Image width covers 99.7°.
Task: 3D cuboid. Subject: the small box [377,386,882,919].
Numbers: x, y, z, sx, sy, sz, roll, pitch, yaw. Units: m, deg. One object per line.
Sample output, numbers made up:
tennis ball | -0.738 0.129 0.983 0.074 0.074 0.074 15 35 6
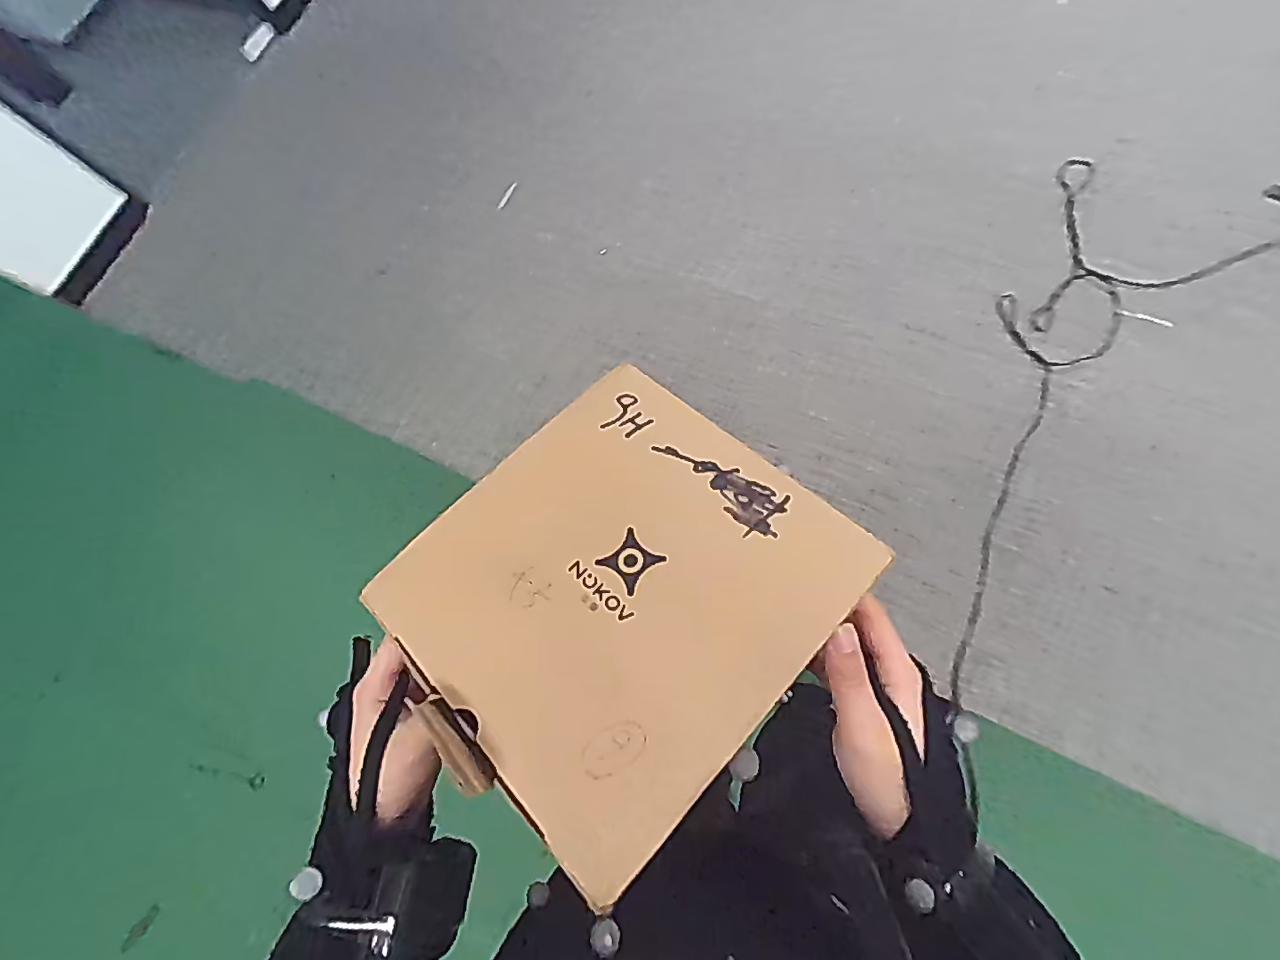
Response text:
small box | 0.001 0.089 0.312 0.179 0.176 0.168 -44 66 -14
